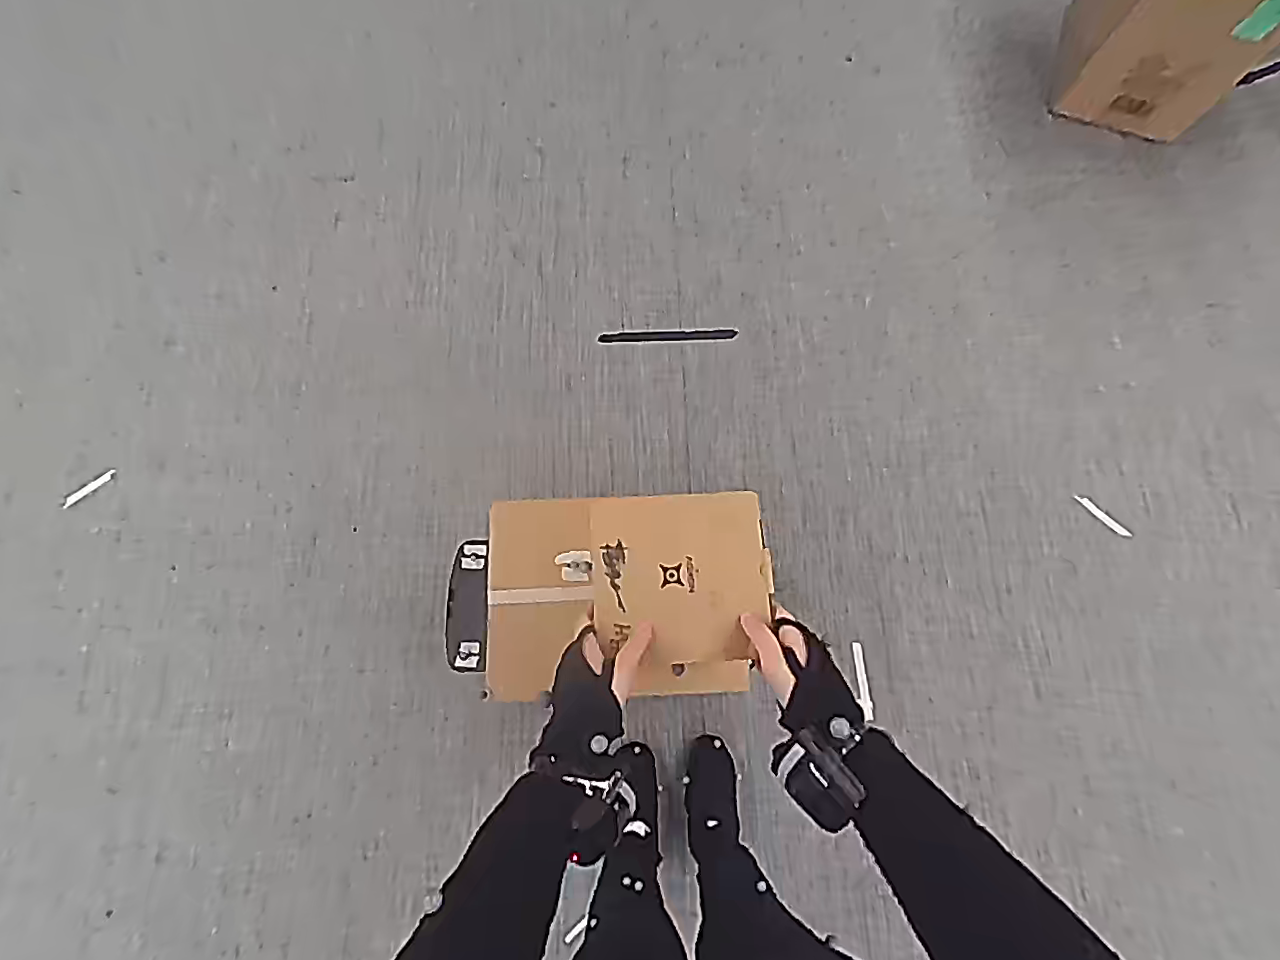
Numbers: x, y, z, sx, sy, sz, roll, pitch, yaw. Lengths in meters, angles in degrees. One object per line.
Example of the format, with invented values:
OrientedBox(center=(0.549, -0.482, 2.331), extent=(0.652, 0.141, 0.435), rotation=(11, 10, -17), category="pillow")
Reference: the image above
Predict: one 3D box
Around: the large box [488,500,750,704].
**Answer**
OrientedBox(center=(-0.037, 0.218, 0.996), extent=(0.408, 0.320, 0.320), rotation=(-2, 73, -1), category="large box")

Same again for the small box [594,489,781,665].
OrientedBox(center=(0.040, 0.113, 0.602), extent=(0.179, 0.176, 0.168), rotation=(-3, 73, -2), category="small box")
